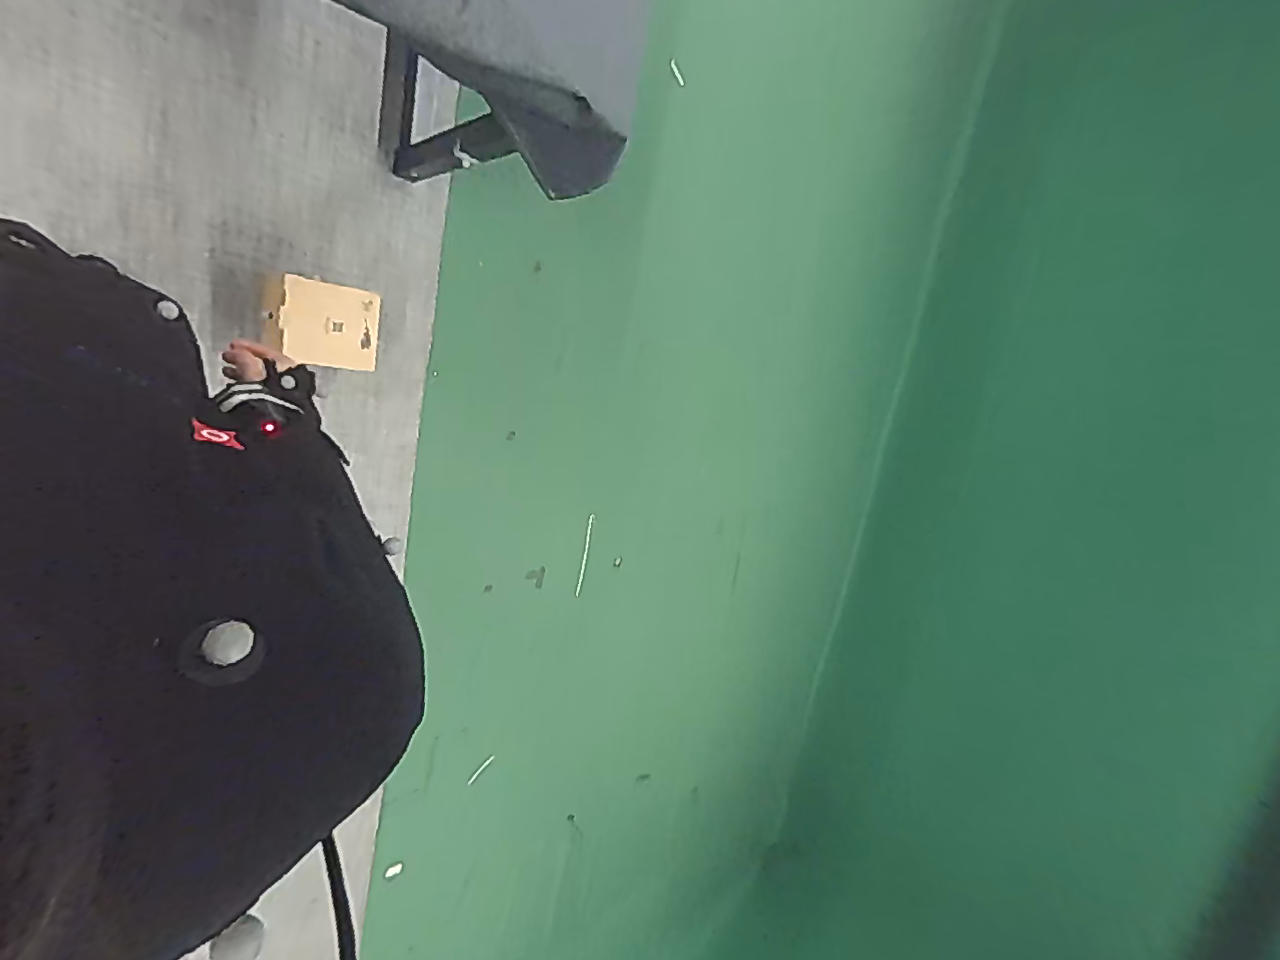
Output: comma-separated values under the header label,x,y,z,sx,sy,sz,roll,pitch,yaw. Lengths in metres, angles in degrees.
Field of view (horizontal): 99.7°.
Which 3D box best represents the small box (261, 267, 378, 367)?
label,x,y,z,sx,sy,sz,roll,pitch,yaw
small box,-0.676,-0.336,1.135,0.179,0.176,0.168,-1,105,-46
